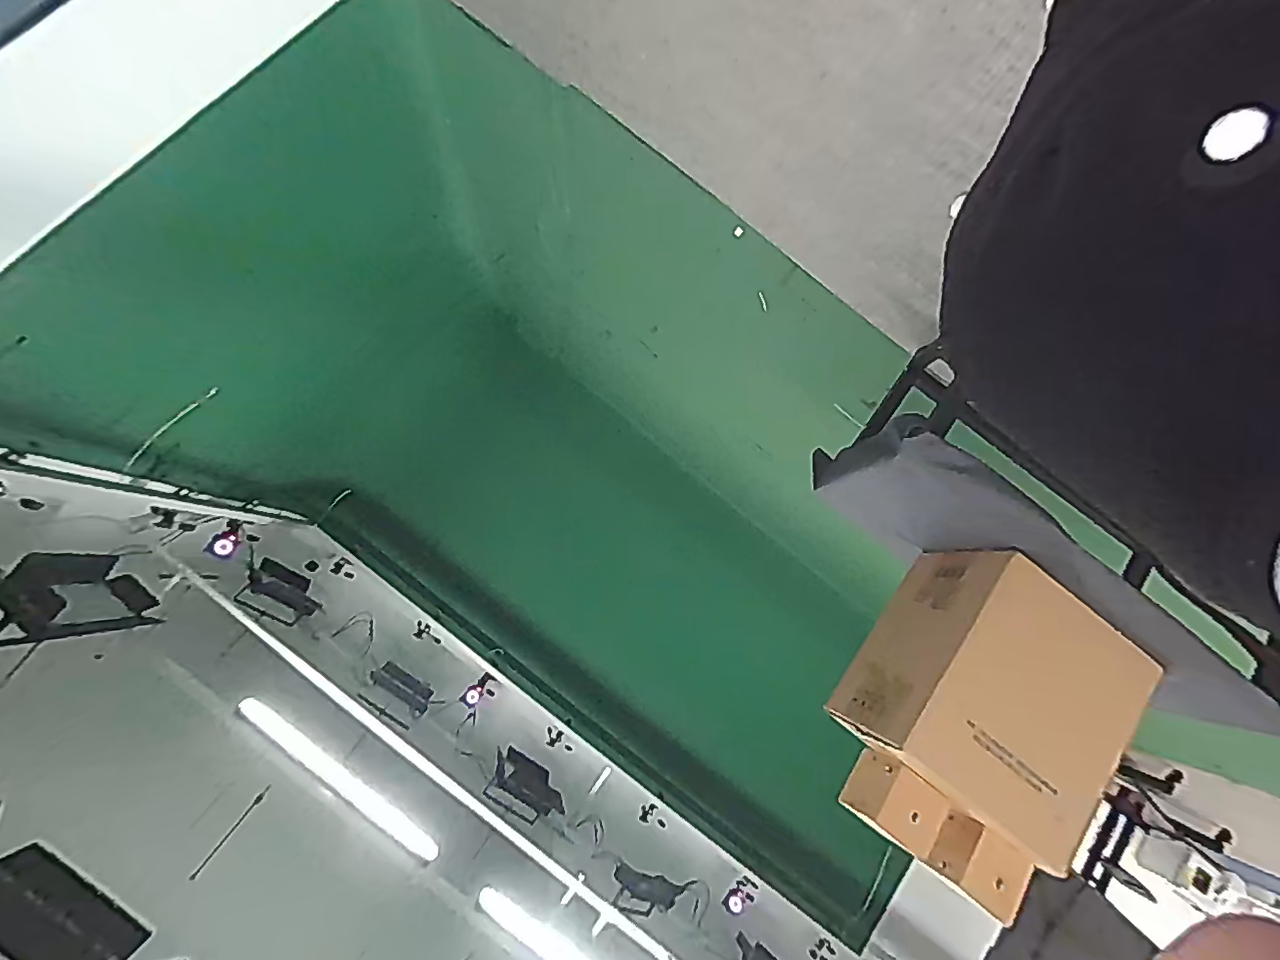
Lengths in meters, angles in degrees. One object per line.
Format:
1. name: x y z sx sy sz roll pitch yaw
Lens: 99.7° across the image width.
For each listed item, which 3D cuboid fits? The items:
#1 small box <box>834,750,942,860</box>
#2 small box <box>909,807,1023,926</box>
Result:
1. small box: 0.676 0.876 1.477 0.179 0.176 0.168 38 162 -3
2. small box: 0.882 1.031 1.462 0.179 0.176 0.168 39 163 -2
